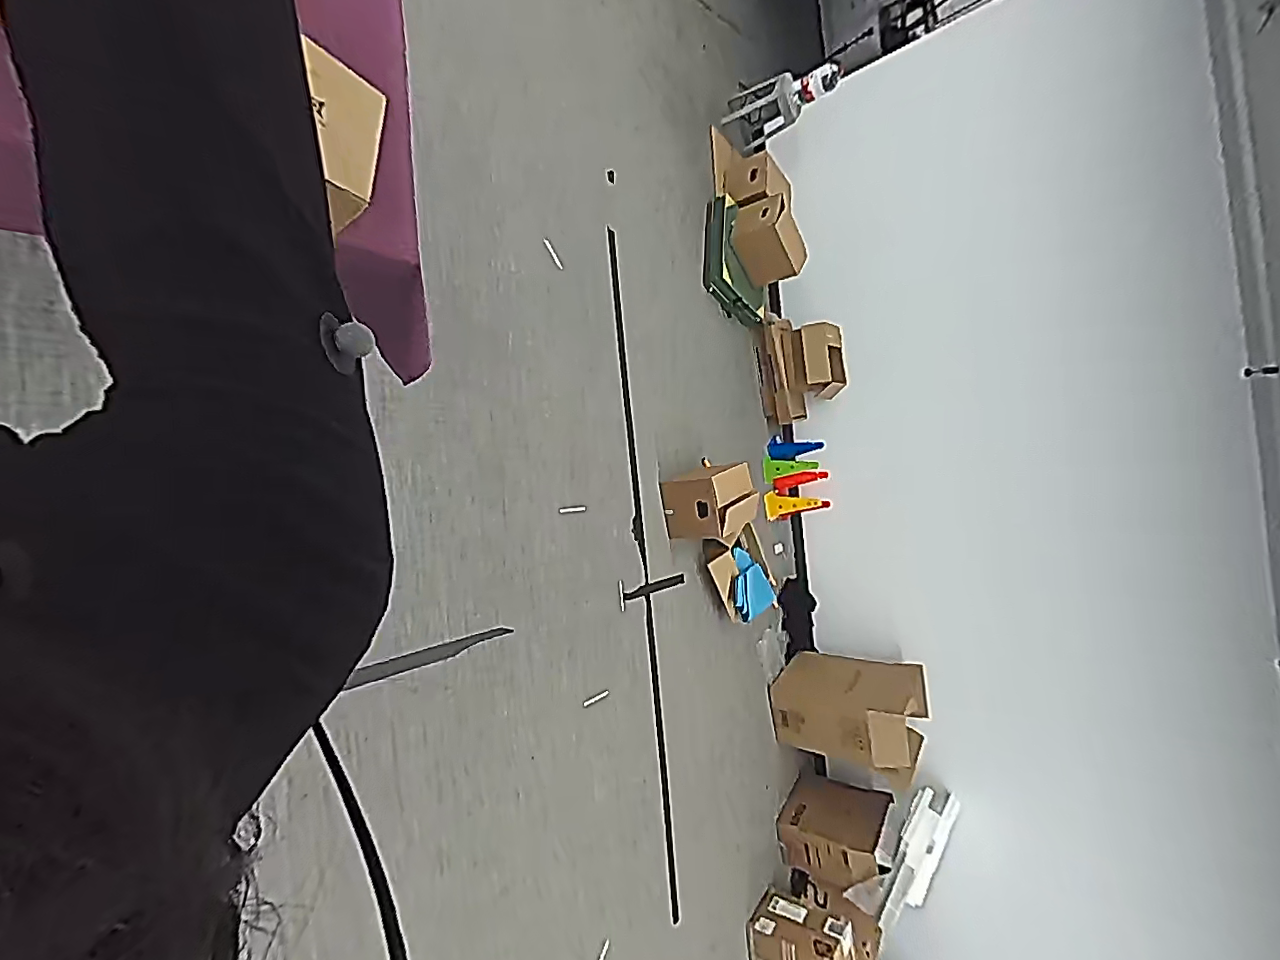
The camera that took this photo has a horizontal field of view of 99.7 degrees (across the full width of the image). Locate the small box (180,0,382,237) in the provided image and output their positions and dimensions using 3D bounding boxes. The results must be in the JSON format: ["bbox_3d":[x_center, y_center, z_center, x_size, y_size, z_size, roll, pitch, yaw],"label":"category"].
[{"bbox_3d":[-0.476,-0.461,0.720,0.168,0.176,0.179,17,70,-53],"label":"small box"}]
